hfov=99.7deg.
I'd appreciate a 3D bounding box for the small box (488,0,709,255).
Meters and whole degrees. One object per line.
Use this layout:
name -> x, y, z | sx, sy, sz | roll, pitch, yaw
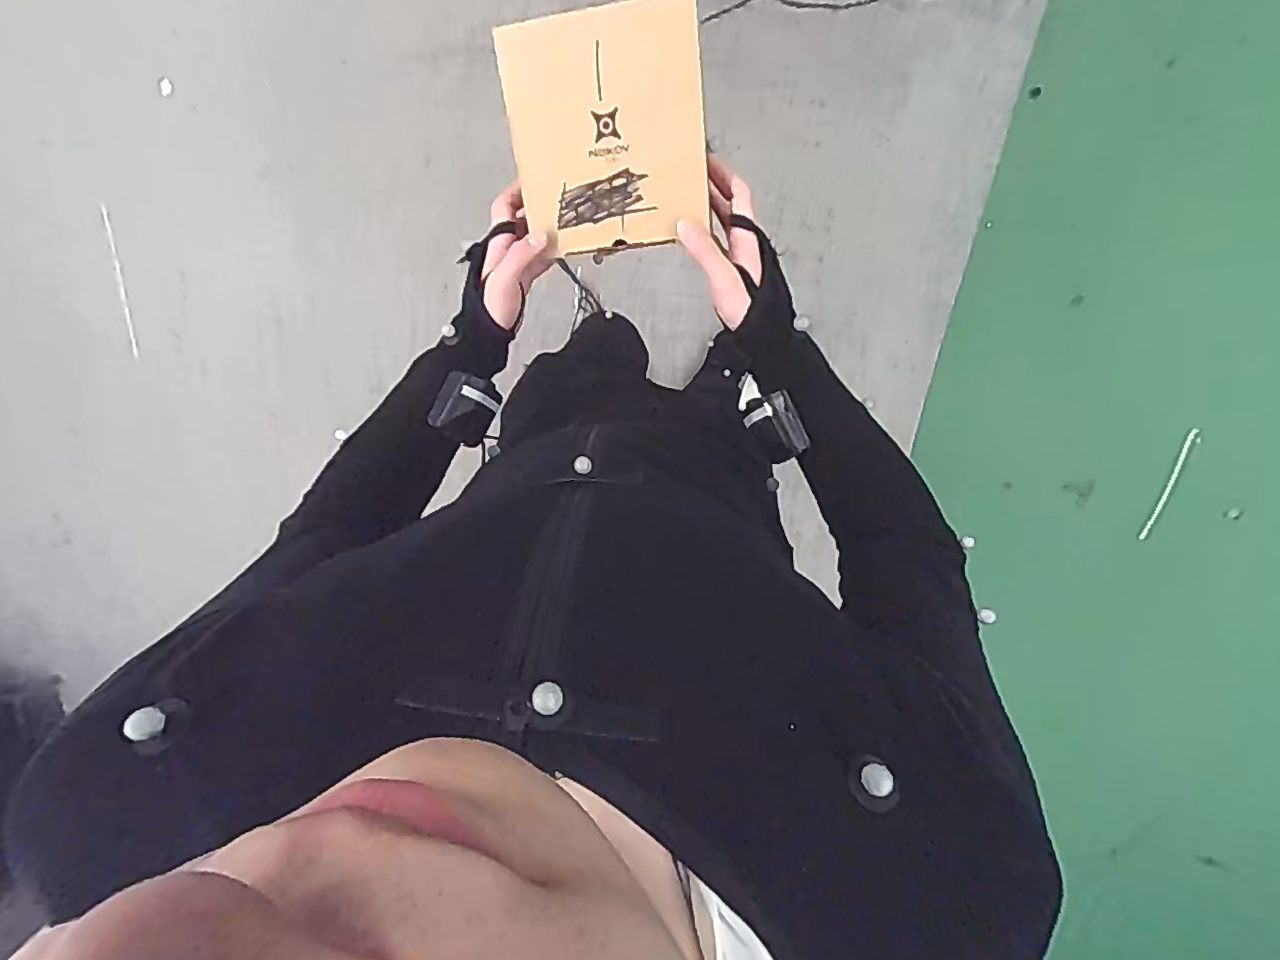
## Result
small box -> -0.021, -0.326, 0.524 | 0.168, 0.176, 0.179 | -4, 114, 10
